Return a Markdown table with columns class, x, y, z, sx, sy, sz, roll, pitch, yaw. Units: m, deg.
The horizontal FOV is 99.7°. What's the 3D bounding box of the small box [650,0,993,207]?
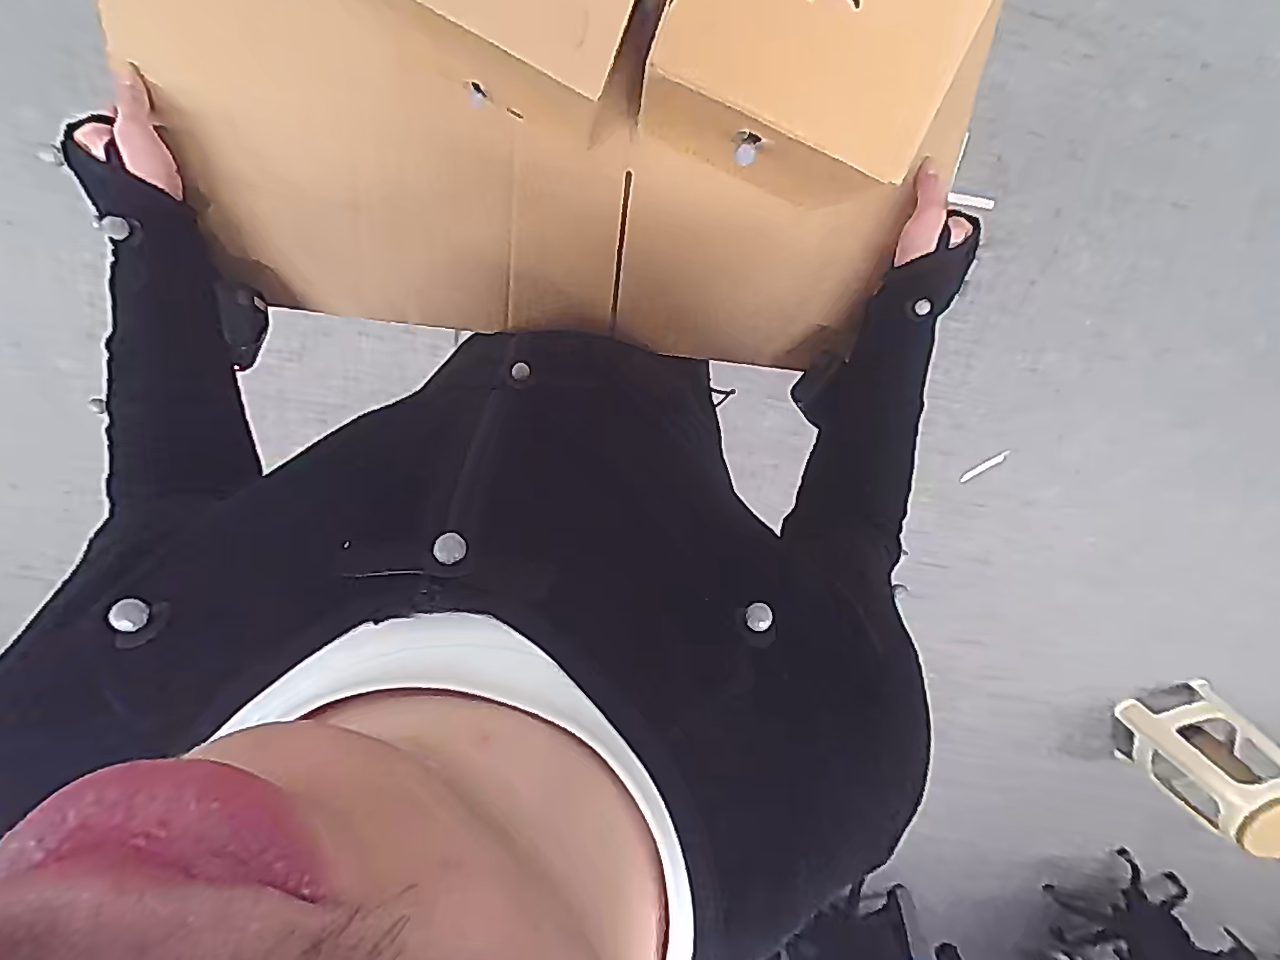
| class | x | y | z | sx | sy | sz | roll | pitch | yaw |
| --- | --- | --- | --- | --- | --- | --- | --- | --- | --- |
| small box | 0.118 | -0.318 | 0.394 | 0.179 | 0.176 | 0.168 | 20 | 109 | -8 |
